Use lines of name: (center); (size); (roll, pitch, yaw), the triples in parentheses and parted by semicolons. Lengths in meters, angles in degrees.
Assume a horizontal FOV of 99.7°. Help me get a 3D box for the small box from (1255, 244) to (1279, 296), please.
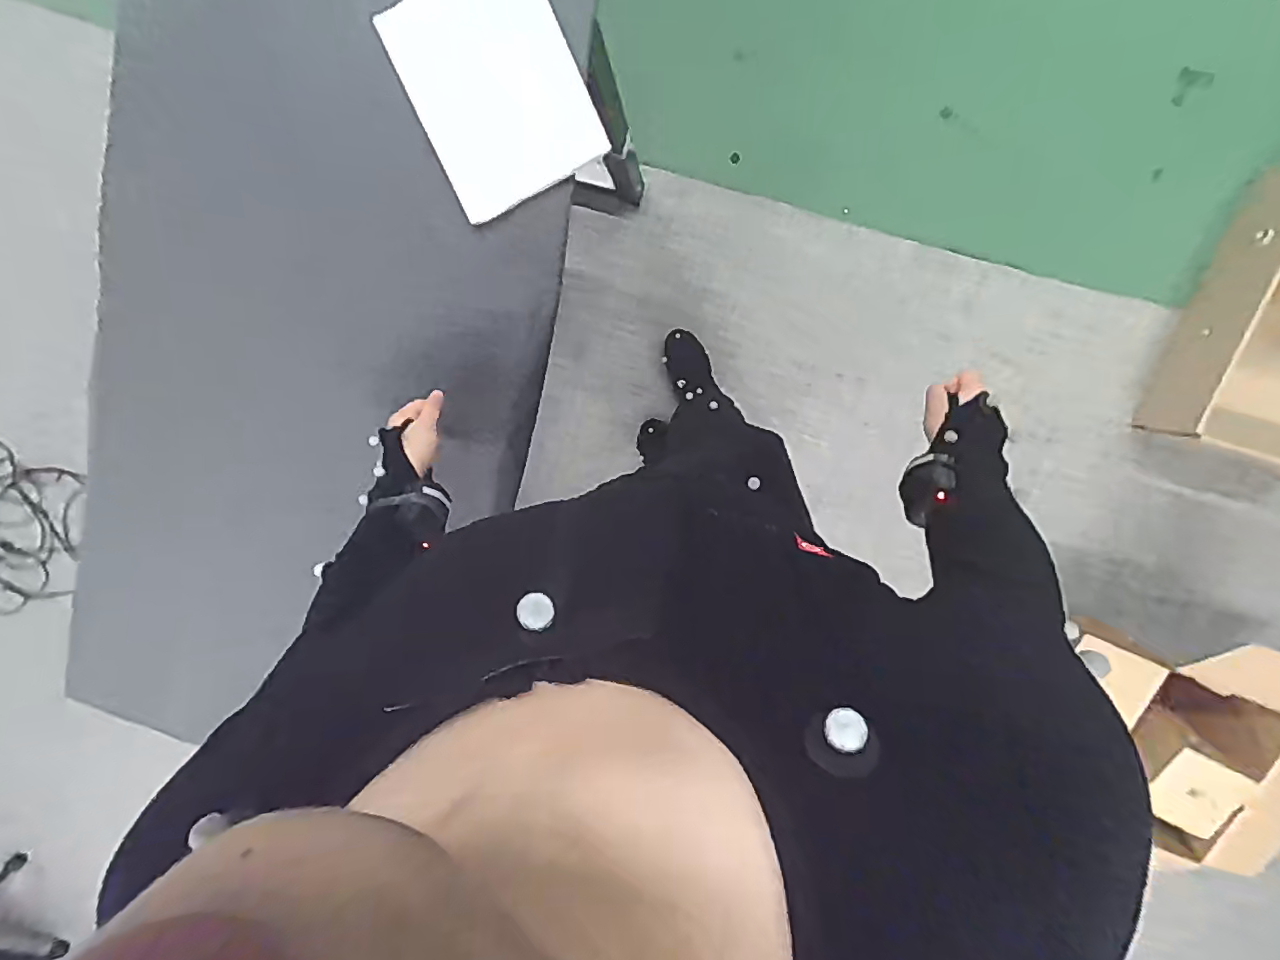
small box: (1.487, -0.460, 1.126); (0.179, 0.176, 0.168); (31, 103, -3)

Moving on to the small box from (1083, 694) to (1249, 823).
small box: (1.184, 0.624, 1.238); (0.179, 0.176, 0.168); (26, 106, 0)
